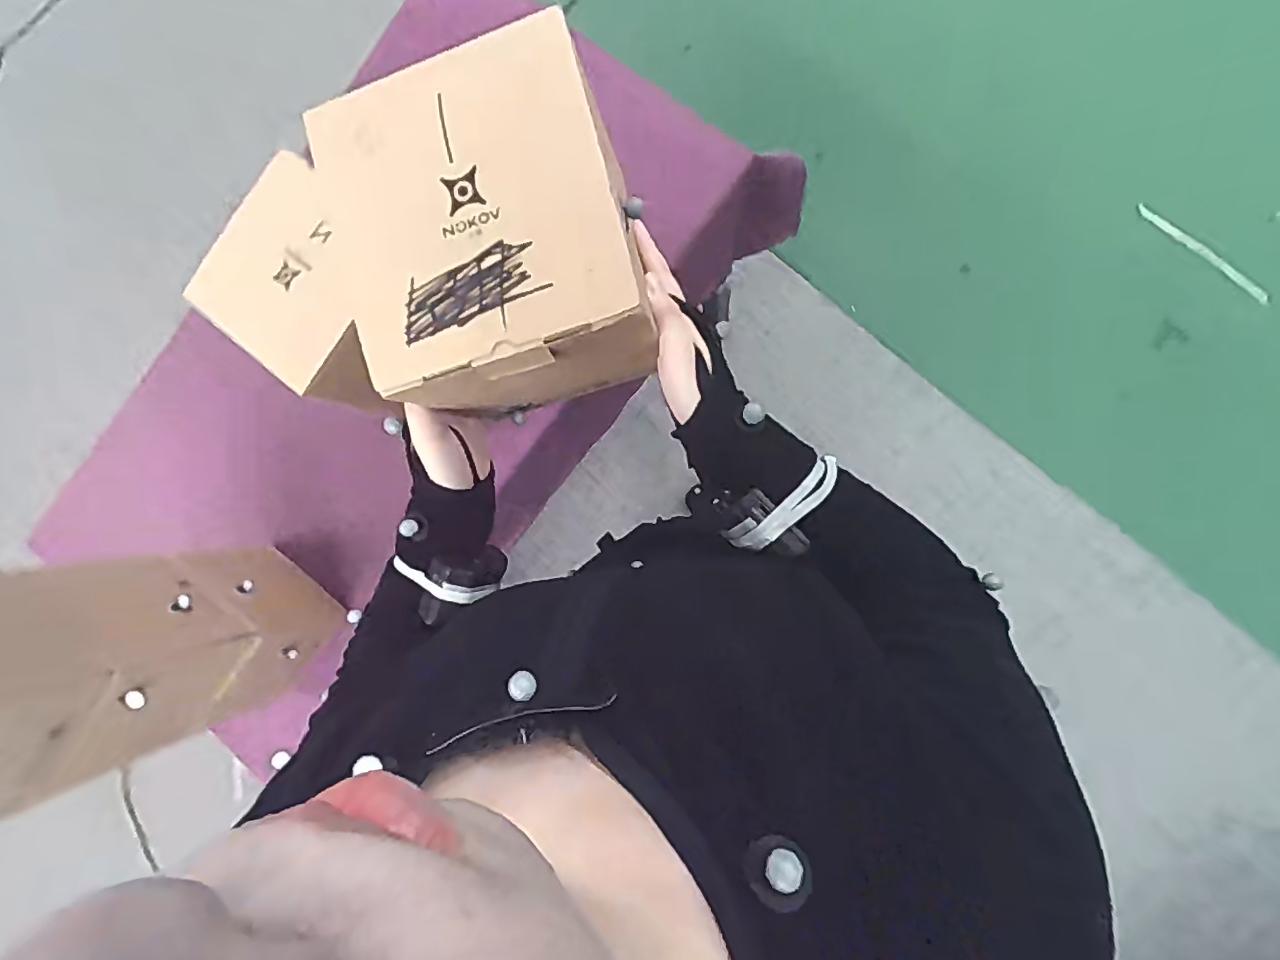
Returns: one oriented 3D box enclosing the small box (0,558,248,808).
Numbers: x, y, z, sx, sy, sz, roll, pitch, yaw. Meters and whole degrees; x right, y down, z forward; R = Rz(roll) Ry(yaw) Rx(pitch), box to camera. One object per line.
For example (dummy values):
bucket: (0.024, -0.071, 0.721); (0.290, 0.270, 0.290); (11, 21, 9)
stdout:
small box: (-0.601, 0.207, 0.608); (0.168, 0.176, 0.179); (35, 91, 7)

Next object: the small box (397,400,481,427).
small box: (-0.289, -0.187, 0.742); (0.179, 0.176, 0.168); (39, 93, 6)

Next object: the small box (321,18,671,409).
small box: (-0.079, -0.154, 0.386); (0.168, 0.176, 0.179); (-14, 89, 8)

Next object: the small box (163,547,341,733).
small box: (-0.577, 0.209, 0.769); (0.179, 0.176, 0.168); (37, 92, 7)

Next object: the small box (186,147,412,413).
small box: (-0.307, -0.192, 0.577); (0.168, 0.176, 0.179); (38, 93, 6)
